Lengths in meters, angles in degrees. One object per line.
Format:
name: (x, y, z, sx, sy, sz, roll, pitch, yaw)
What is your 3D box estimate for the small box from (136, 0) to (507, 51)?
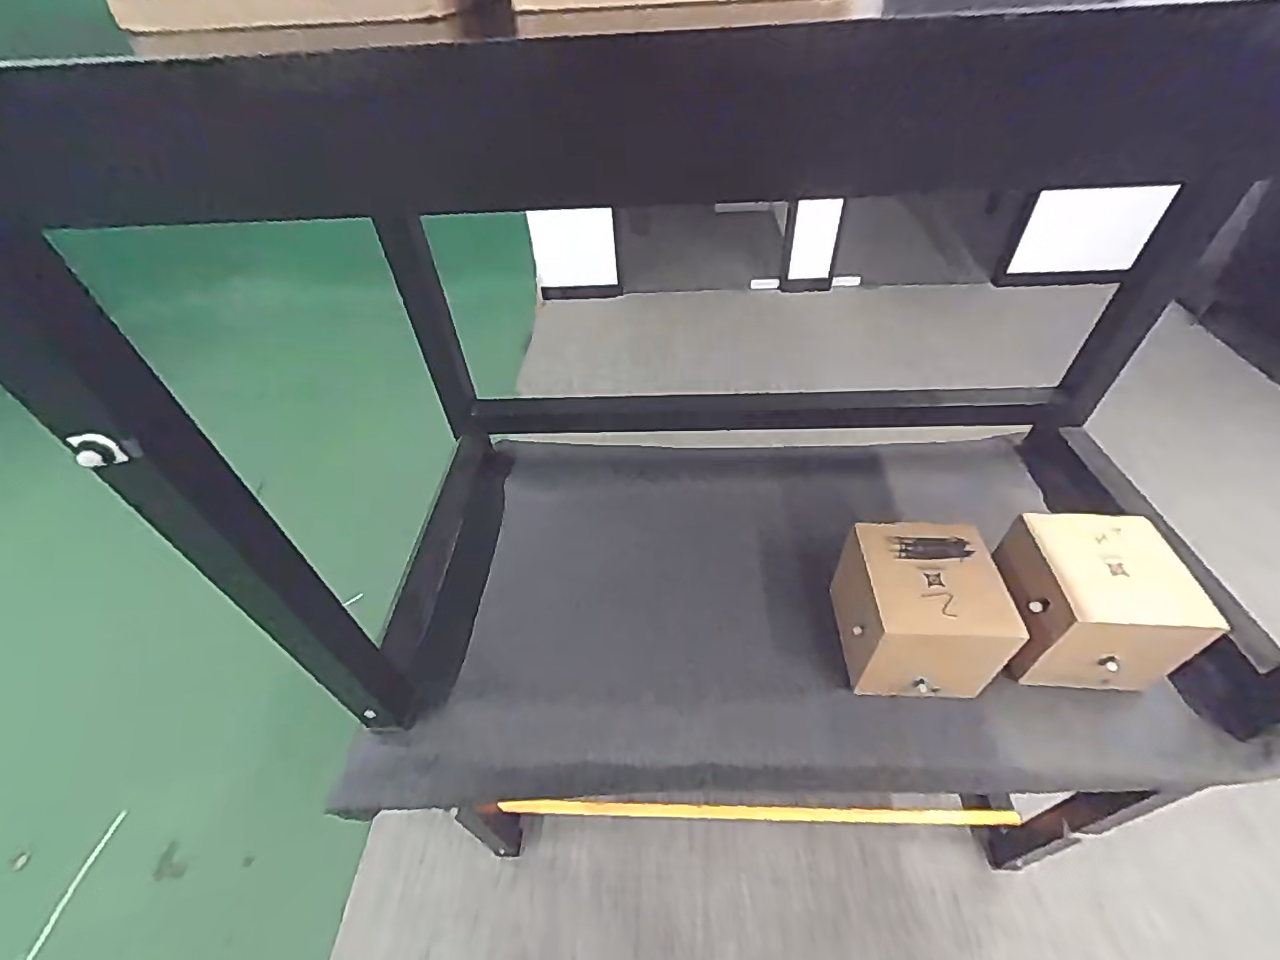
small box: (-0.176, -0.337, 0.274, 0.168, 0.176, 0.179, 0, 46, 4)

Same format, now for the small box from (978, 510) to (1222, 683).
small box: (0.608, 0.163, 0.748, 0.168, 0.176, 0.179, 1, 44, 6)

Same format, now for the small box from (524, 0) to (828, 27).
small box: (0.021, -0.340, 0.267, 0.168, 0.176, 0.179, 1, 45, 5)
